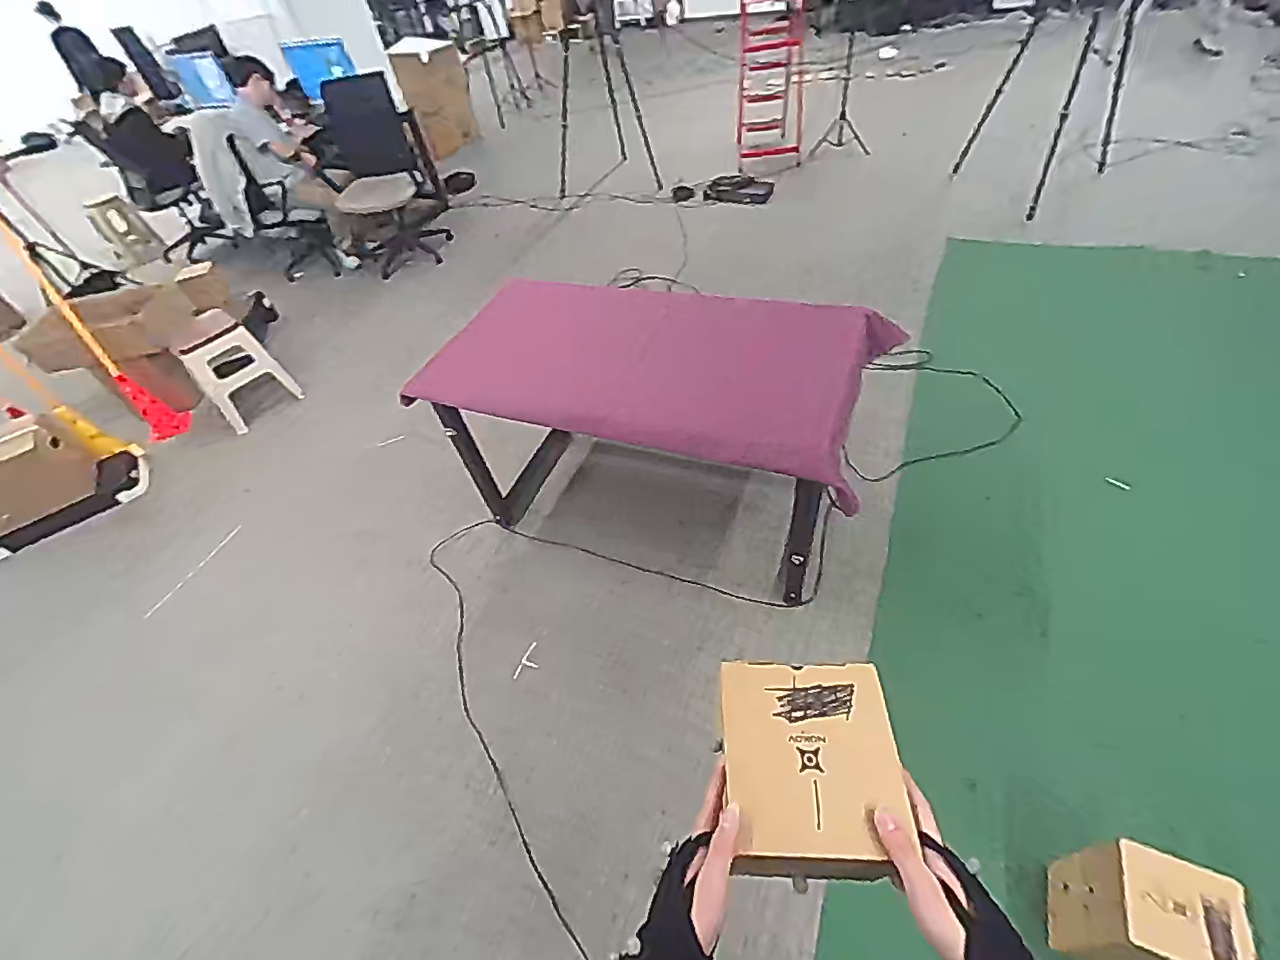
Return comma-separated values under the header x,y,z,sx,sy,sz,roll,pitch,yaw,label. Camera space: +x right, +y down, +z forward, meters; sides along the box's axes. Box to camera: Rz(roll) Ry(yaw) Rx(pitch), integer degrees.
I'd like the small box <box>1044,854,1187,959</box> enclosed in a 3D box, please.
x,y,z,sx,sy,sz,roll,pitch,yaw,label
0.961,0.913,1.110,0.179,0.176,0.168,15,51,21,small box
